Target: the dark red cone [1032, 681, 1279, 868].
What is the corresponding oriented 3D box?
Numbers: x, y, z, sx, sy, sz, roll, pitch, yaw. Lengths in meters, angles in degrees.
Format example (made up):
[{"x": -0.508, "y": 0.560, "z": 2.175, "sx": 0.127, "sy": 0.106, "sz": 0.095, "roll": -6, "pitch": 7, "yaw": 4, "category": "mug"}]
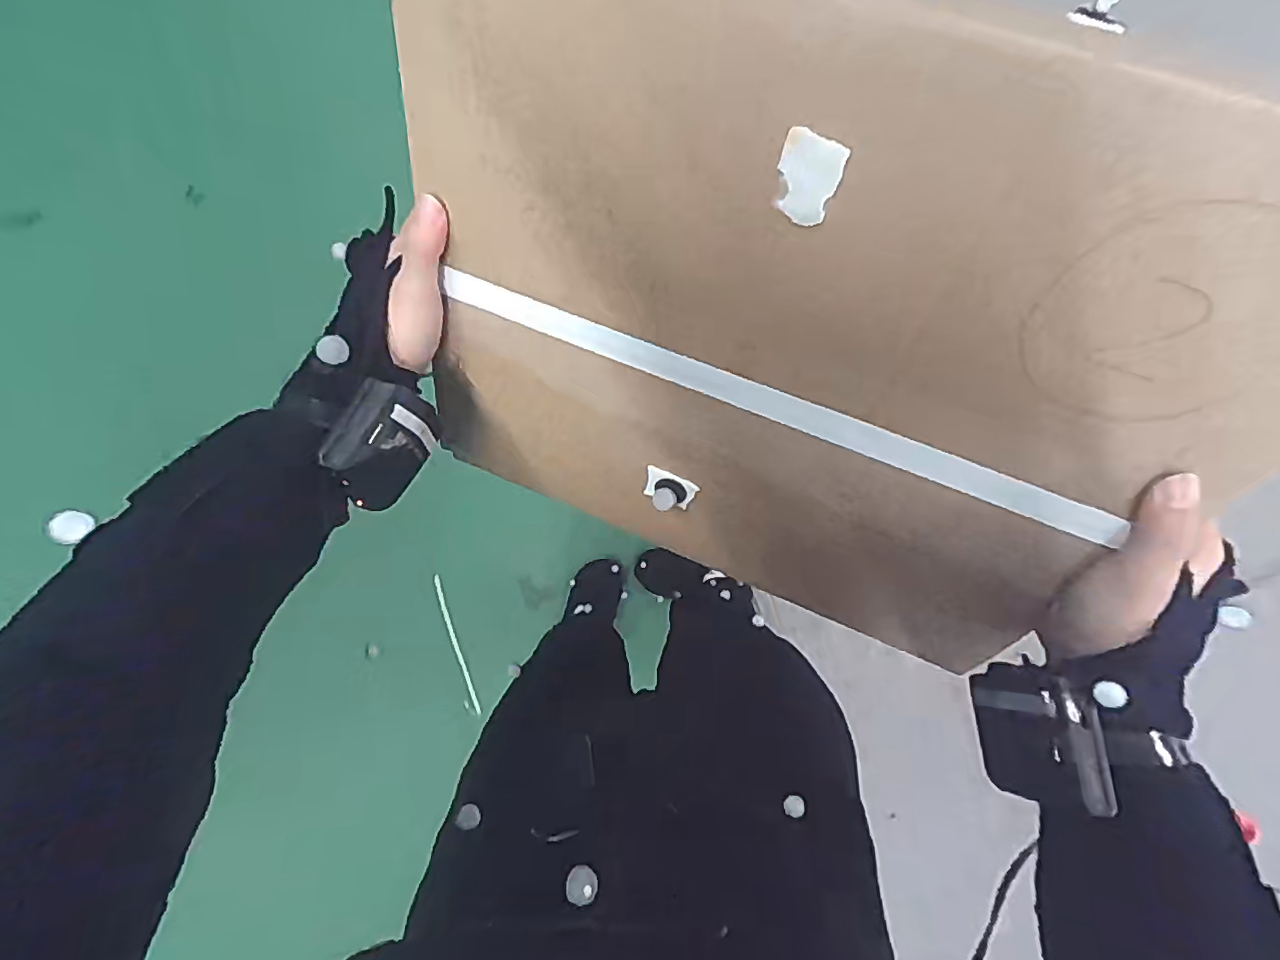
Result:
[{"x": 0.924, "y": 0.533, "z": 0.952, "sx": 0.201, "sy": 0.394, "sz": 0.202, "roll": -27, "pitch": 87, "yaw": 2, "category": "dark red cone"}]
